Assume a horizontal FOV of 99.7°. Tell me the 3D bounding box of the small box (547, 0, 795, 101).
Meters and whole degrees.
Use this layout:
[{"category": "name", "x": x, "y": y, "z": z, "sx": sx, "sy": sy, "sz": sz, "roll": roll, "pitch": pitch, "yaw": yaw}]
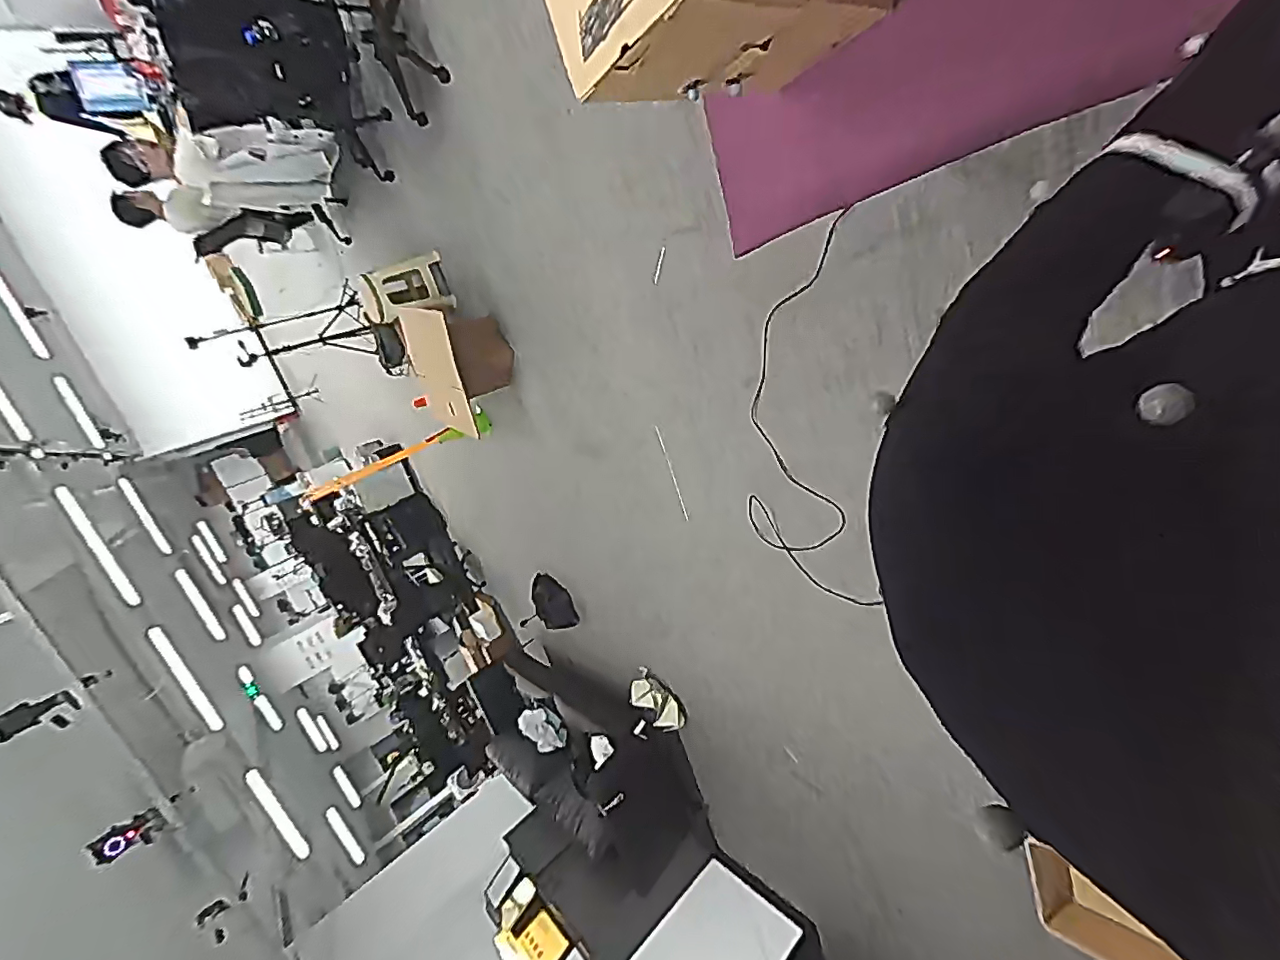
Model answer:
[{"category": "small box", "x": 0.022, "y": -0.487, "z": 0.502, "sx": 0.168, "sy": 0.176, "sz": 0.179, "roll": 5, "pitch": 119, "yaw": 49}]
